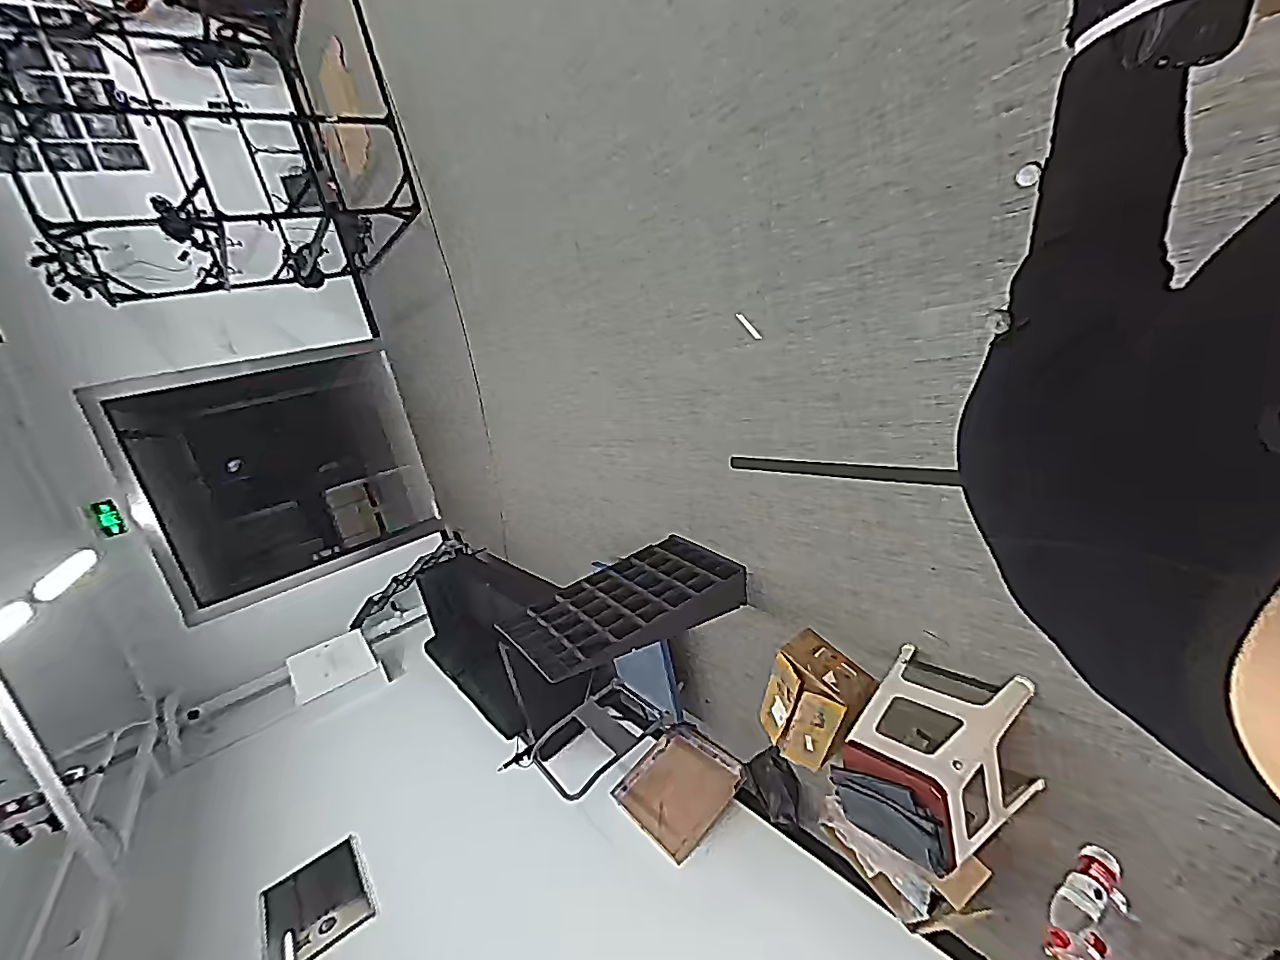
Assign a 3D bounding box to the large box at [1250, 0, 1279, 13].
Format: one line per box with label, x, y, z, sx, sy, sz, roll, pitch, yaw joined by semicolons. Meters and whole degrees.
large box;0.560;-0.500;0.228;0.408;0.320;0.320;10;121;51
